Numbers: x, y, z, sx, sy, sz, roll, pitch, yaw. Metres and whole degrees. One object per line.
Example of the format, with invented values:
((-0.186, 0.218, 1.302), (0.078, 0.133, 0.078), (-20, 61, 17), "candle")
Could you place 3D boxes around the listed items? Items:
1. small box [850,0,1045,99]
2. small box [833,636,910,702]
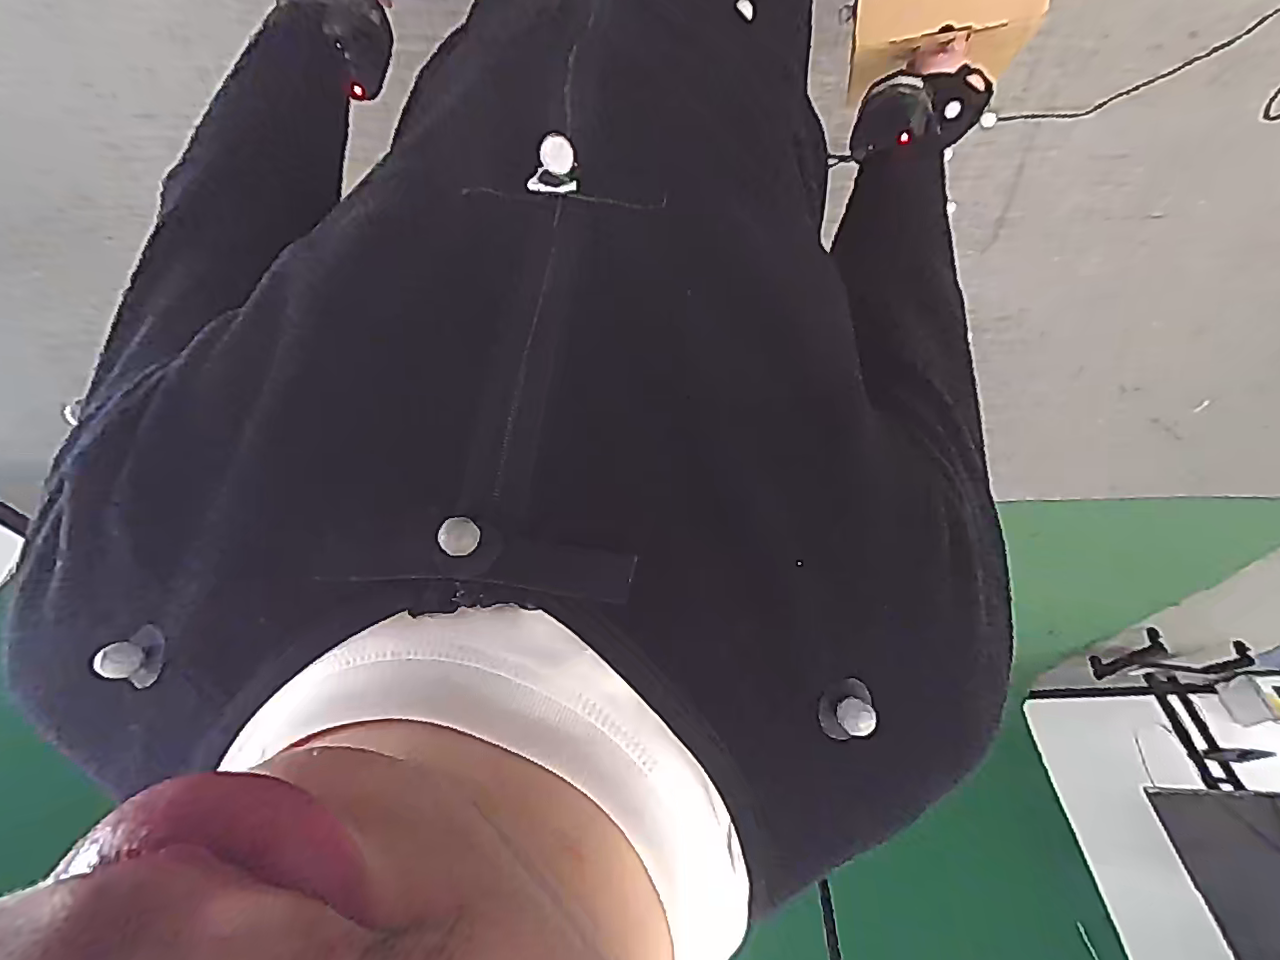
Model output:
((0.318, -0.528, 0.567), (0.168, 0.176, 0.179), (6, 107, 17), "small box")
((0.768, 0.635, 1.815), (0.168, 0.176, 0.179), (2, 143, -3), "small box")
